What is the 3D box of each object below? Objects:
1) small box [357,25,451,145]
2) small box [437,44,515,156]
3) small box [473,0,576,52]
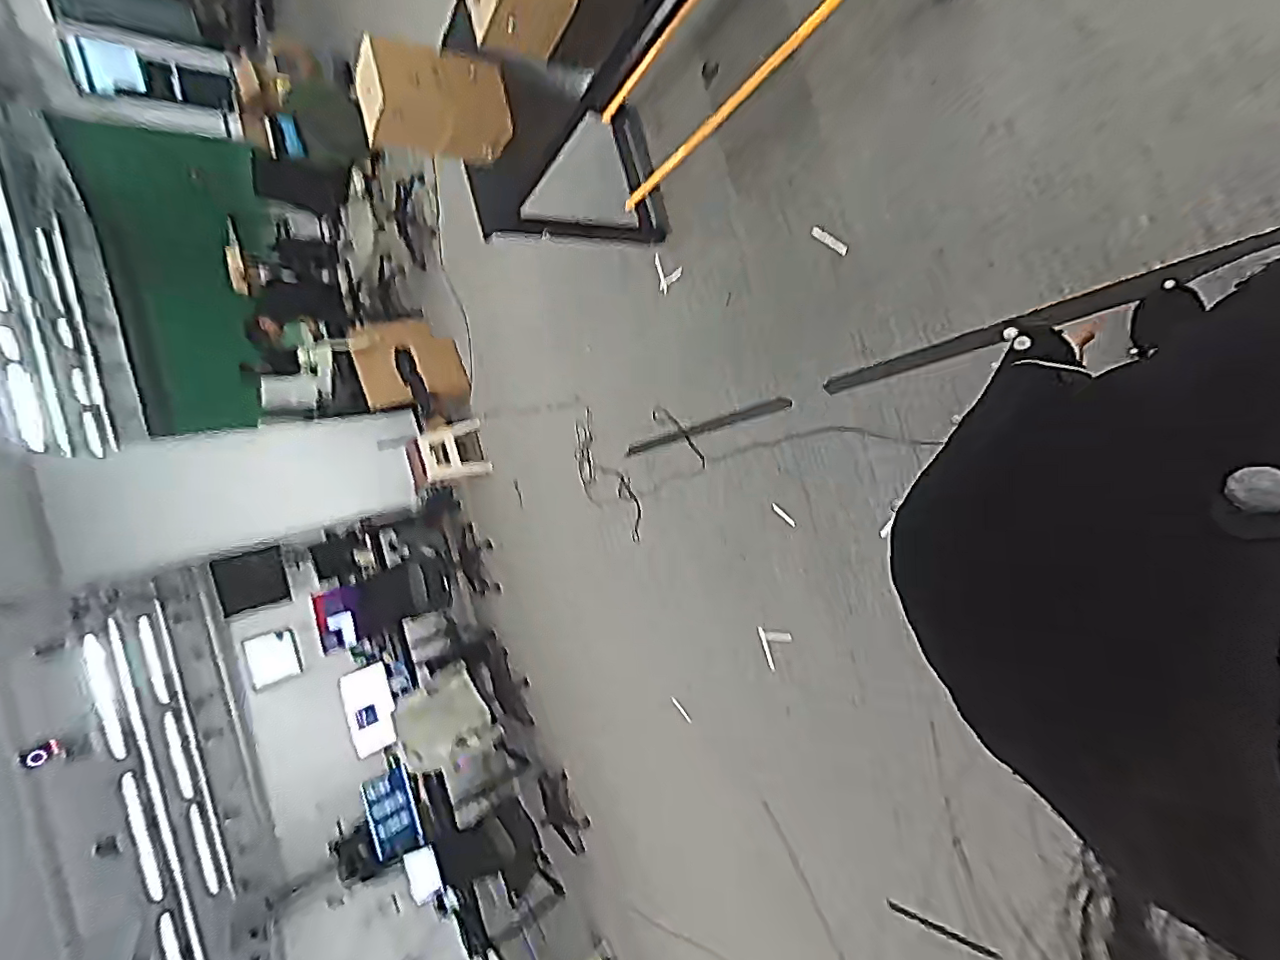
[{"bbox_3d":[-0.592,-0.983,1.364,0.179,0.176,0.168,-10,93,54],"label":"small box"},{"bbox_3d":[-0.459,-1.012,1.457,0.168,0.176,0.179,-10,95,55],"label":"small box"},{"bbox_3d":[-0.255,-1.078,1.163,0.179,0.176,0.168,-17,88,53],"label":"small box"}]
